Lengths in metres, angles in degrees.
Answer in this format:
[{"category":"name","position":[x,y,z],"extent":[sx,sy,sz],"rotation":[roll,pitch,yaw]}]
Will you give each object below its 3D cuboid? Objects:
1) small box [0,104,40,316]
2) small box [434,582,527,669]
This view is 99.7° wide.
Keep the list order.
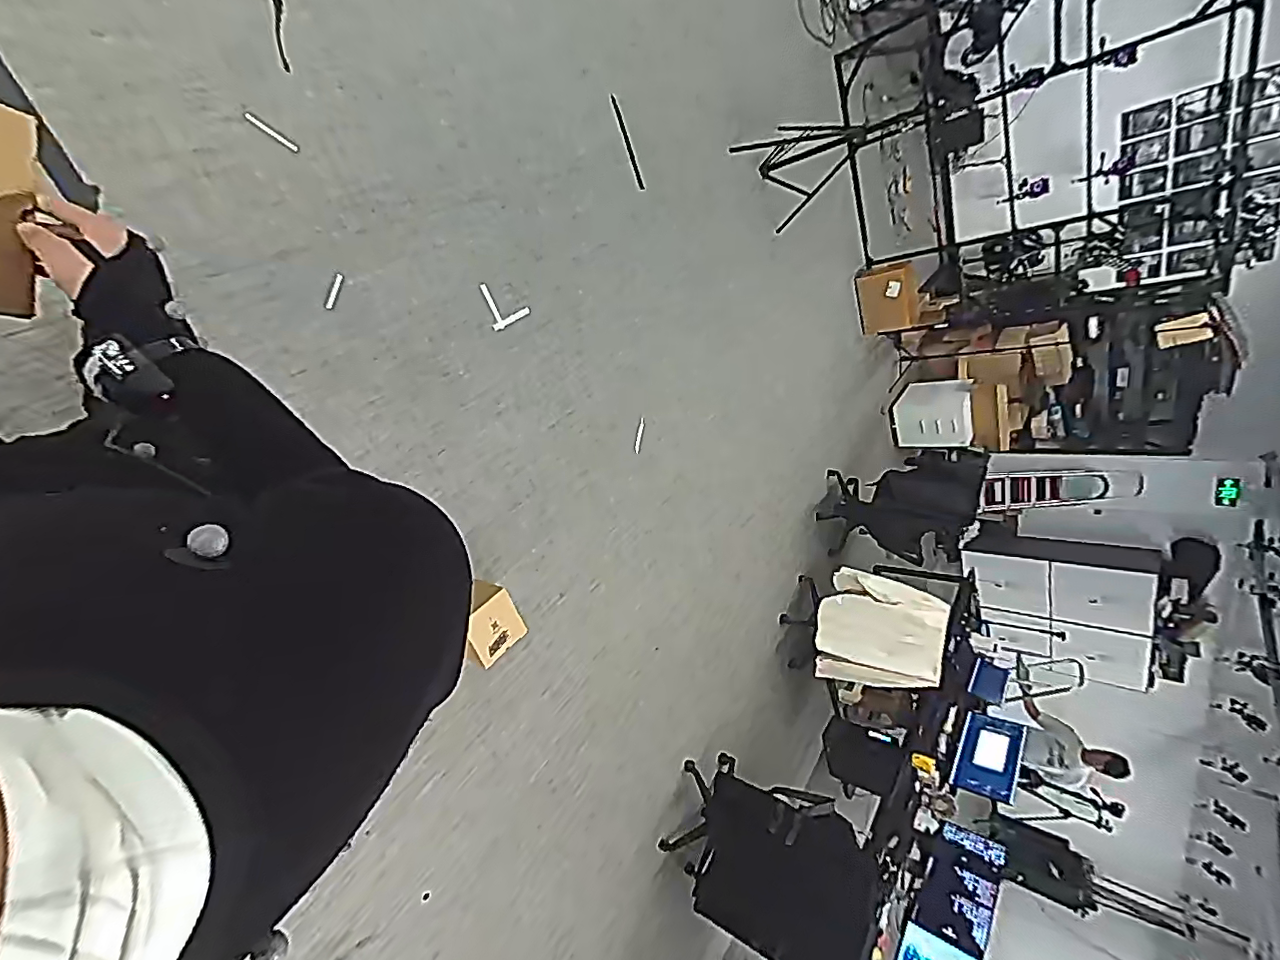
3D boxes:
[{"category":"small box","position":[-0.615,-0.227,0.406],"extent":[0.179,0.176,0.168],"rotation":[-9,108,-68]},{"category":"small box","position":[-0.476,0.427,1.615],"extent":[0.168,0.176,0.179],"rotation":[-40,120,-39]}]
